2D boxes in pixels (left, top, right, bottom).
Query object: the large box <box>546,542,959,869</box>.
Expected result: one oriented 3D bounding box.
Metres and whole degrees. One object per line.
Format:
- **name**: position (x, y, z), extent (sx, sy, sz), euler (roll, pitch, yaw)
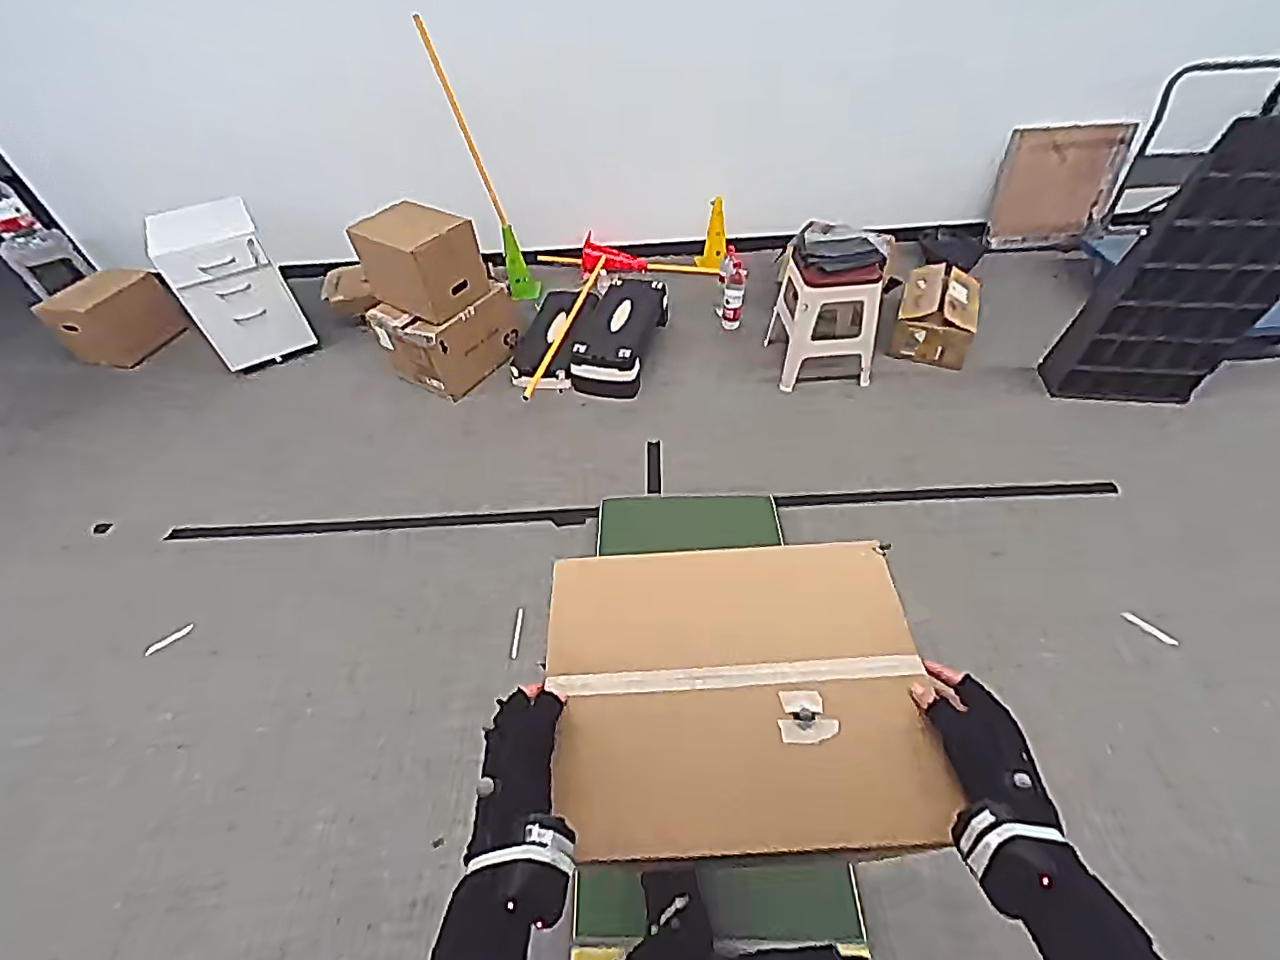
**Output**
- **large box**: position (0.104, 0.306, 0.718), extent (0.408, 0.320, 0.320), euler (-4, 53, 0)
